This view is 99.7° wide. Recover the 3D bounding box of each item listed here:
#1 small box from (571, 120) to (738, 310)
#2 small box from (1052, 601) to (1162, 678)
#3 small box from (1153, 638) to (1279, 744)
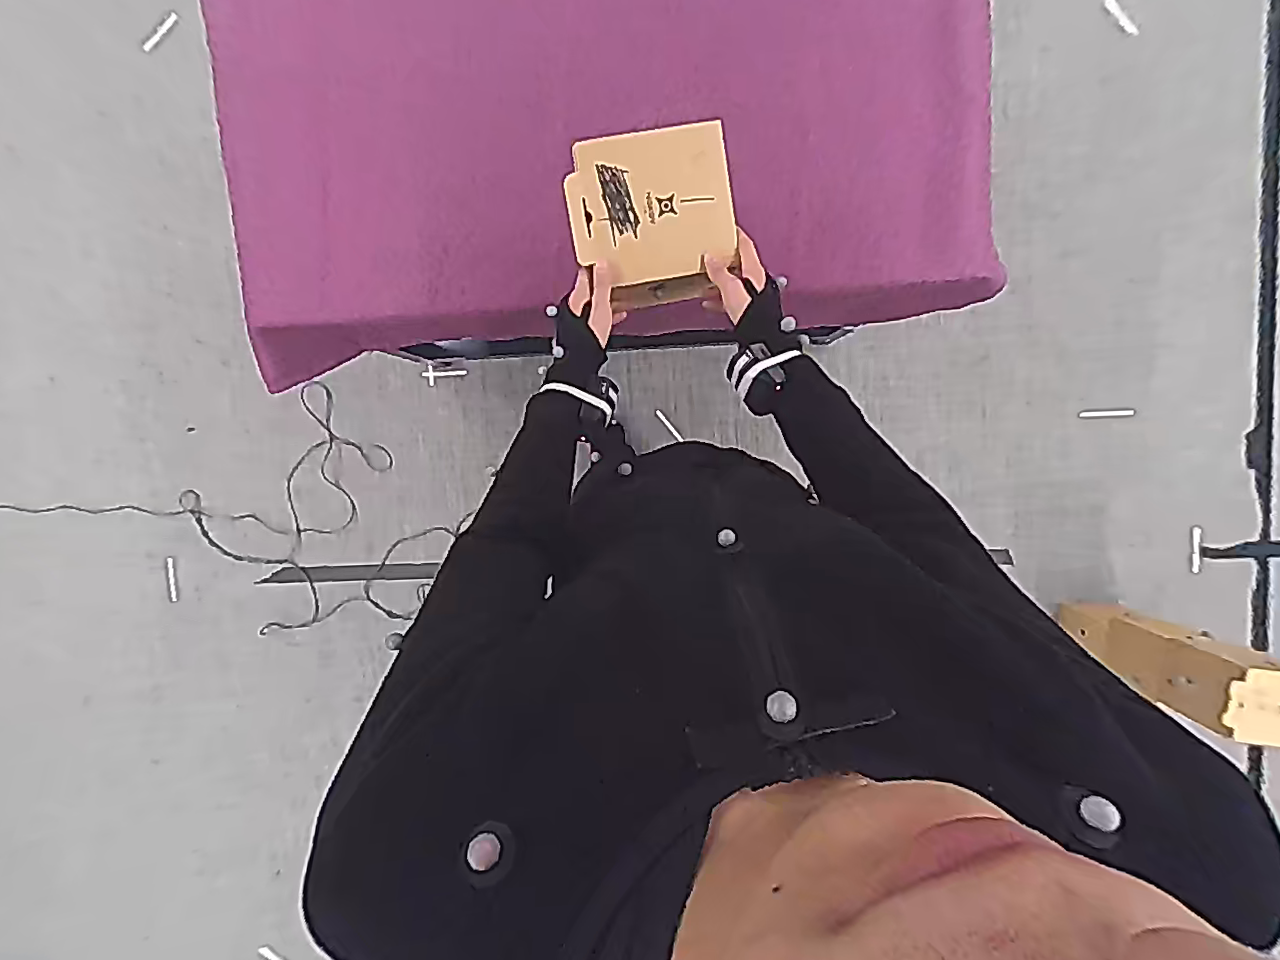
[{"bbox_3d":[0.014,-0.329,0.706,0.179,0.176,0.168,-11,98,-3],"label":"small box"},{"bbox_3d":[1.337,0.456,1.561,0.179,0.176,0.168,1,95,1],"label":"small box"},{"bbox_3d":[1.344,0.473,1.231,0.179,0.176,0.168,7,96,1],"label":"small box"}]
